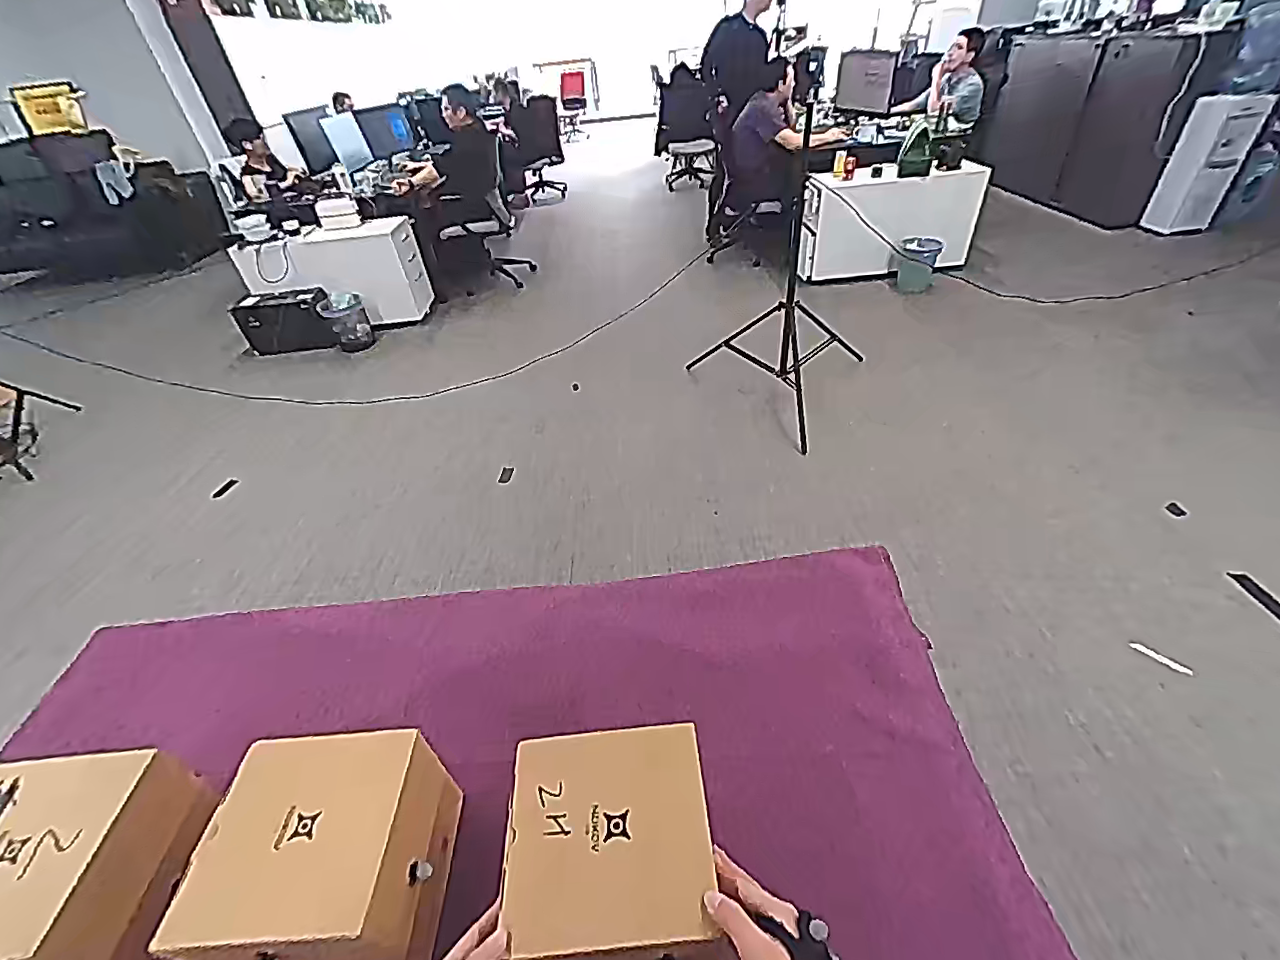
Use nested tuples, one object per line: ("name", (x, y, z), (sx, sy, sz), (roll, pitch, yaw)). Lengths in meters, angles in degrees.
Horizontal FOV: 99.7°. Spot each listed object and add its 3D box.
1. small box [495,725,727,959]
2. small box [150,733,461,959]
("small box", (-0.019, 0.358, 0.509), (0.179, 0.176, 0.168), (-7, 38, 1))
("small box", (-0.297, 0.375, 0.535), (0.179, 0.176, 0.168), (-6, 39, 2))
